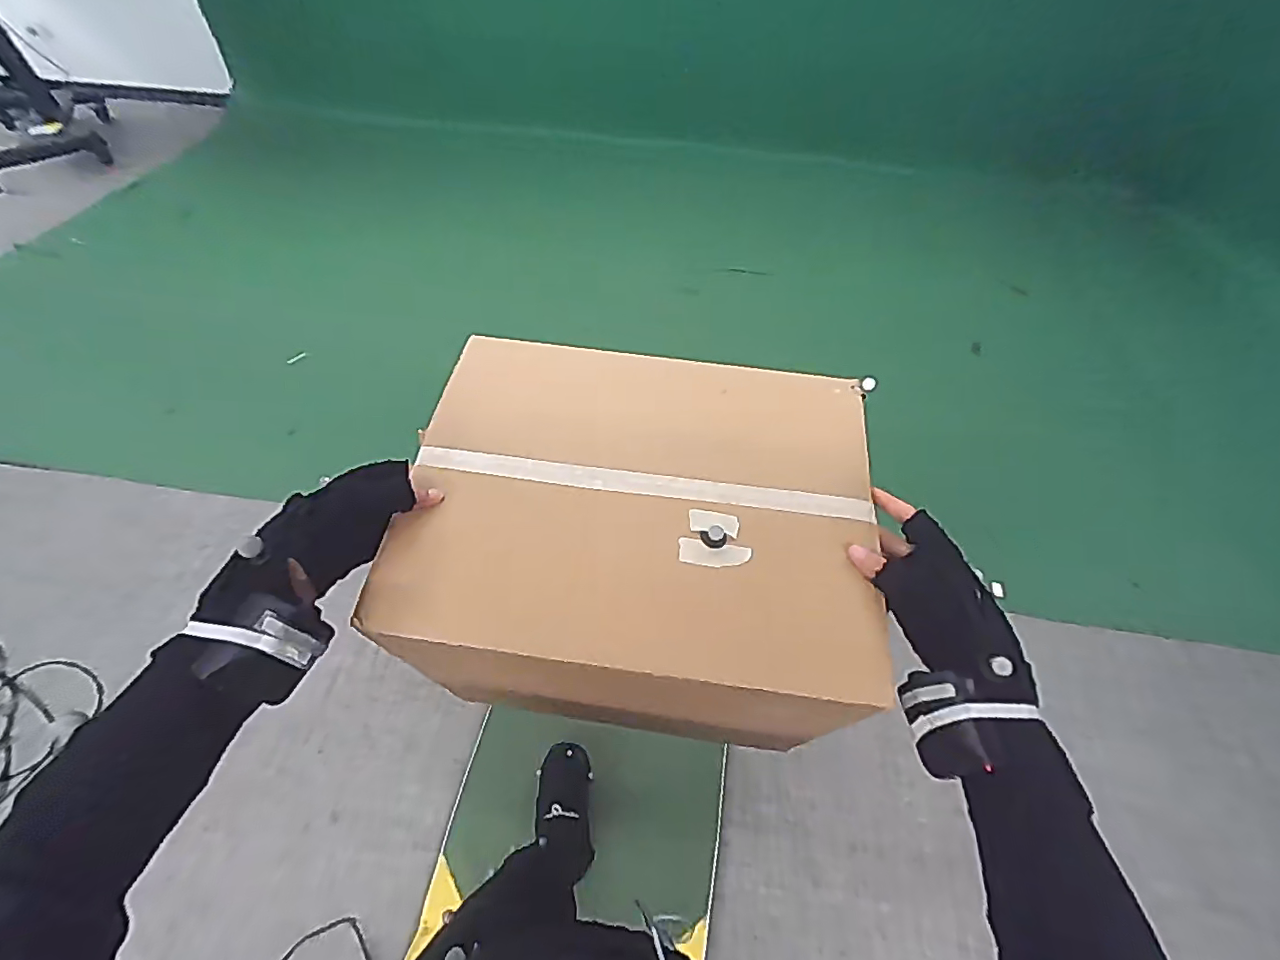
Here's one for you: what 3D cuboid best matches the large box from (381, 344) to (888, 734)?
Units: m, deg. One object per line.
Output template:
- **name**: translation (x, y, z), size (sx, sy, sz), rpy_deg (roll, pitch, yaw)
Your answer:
- **large box**: translation (0.003, 0.082, 0.617), size (0.408, 0.320, 0.320), rpy_deg (7, 59, 2)
